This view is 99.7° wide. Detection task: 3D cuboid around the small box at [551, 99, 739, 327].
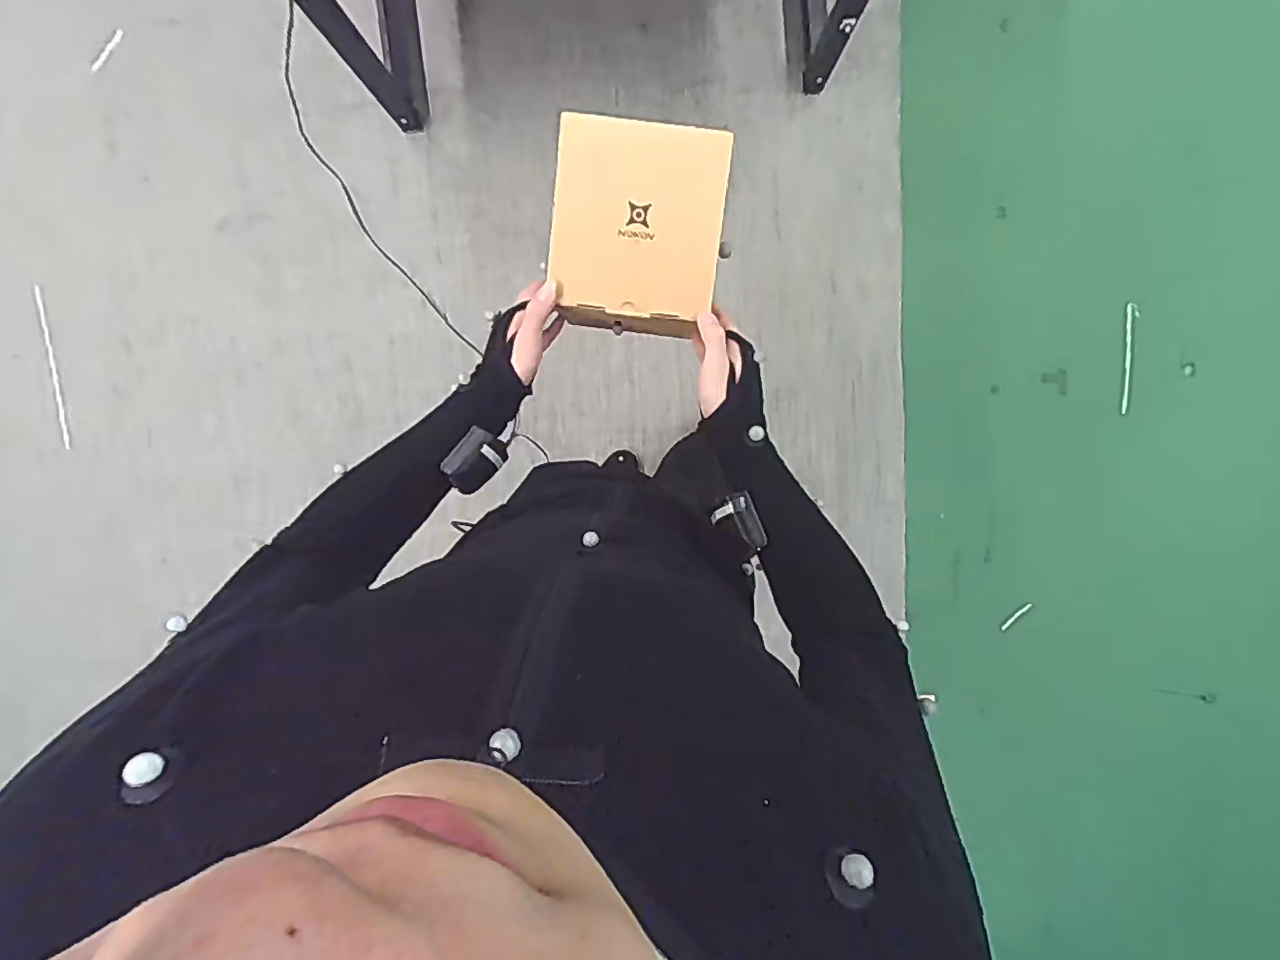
[{"bbox_3d":[0.001,-0.275,0.597,0.168,0.176,0.179,6,101,-2],"label":"small box"}]
